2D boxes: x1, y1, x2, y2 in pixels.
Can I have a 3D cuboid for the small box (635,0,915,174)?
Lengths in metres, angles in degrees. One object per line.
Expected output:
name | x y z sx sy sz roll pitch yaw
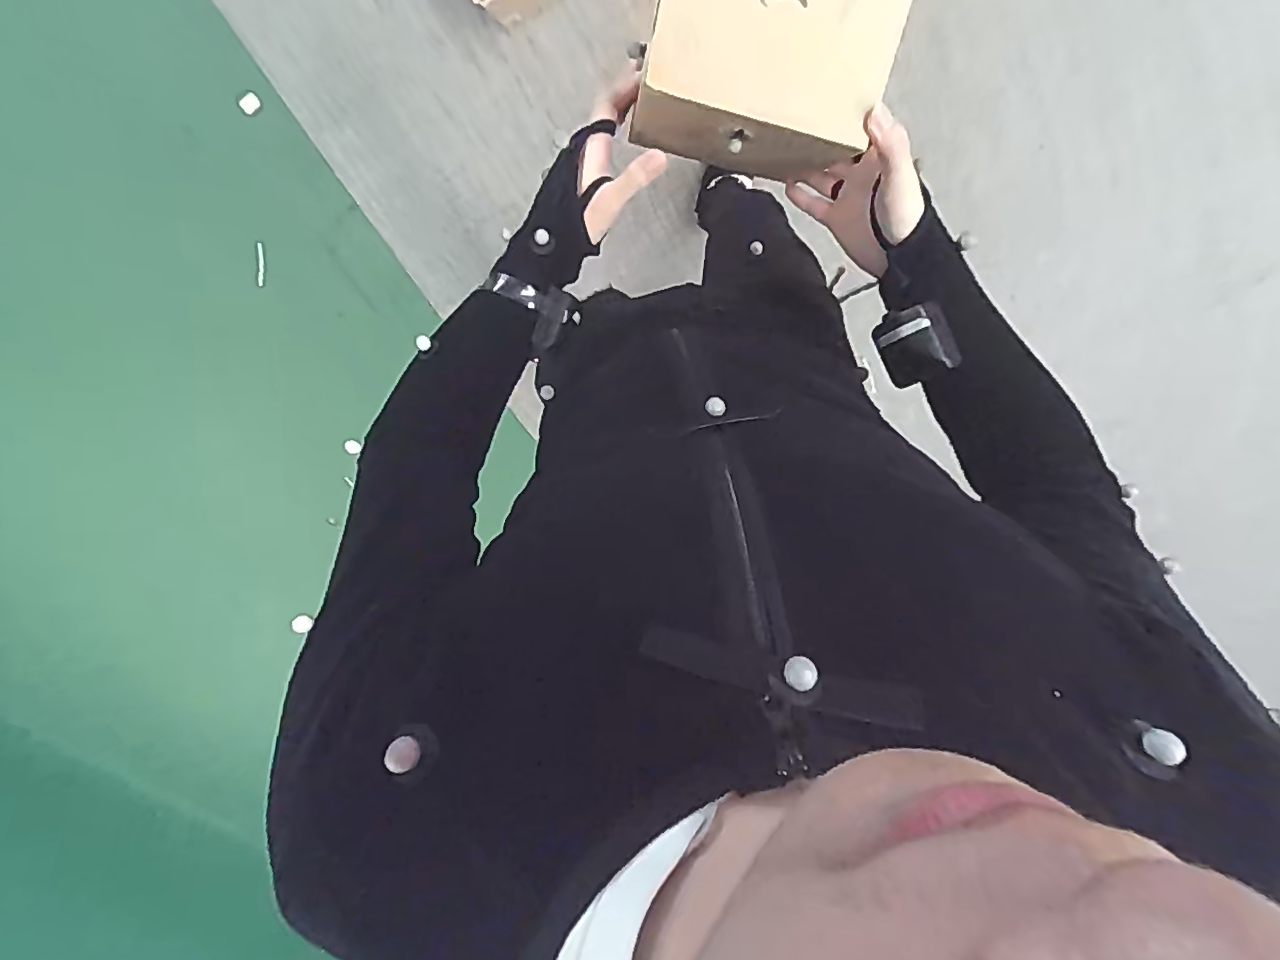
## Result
small box | 0.097 -0.365 0.434 0.179 0.176 0.168 10 110 -9
